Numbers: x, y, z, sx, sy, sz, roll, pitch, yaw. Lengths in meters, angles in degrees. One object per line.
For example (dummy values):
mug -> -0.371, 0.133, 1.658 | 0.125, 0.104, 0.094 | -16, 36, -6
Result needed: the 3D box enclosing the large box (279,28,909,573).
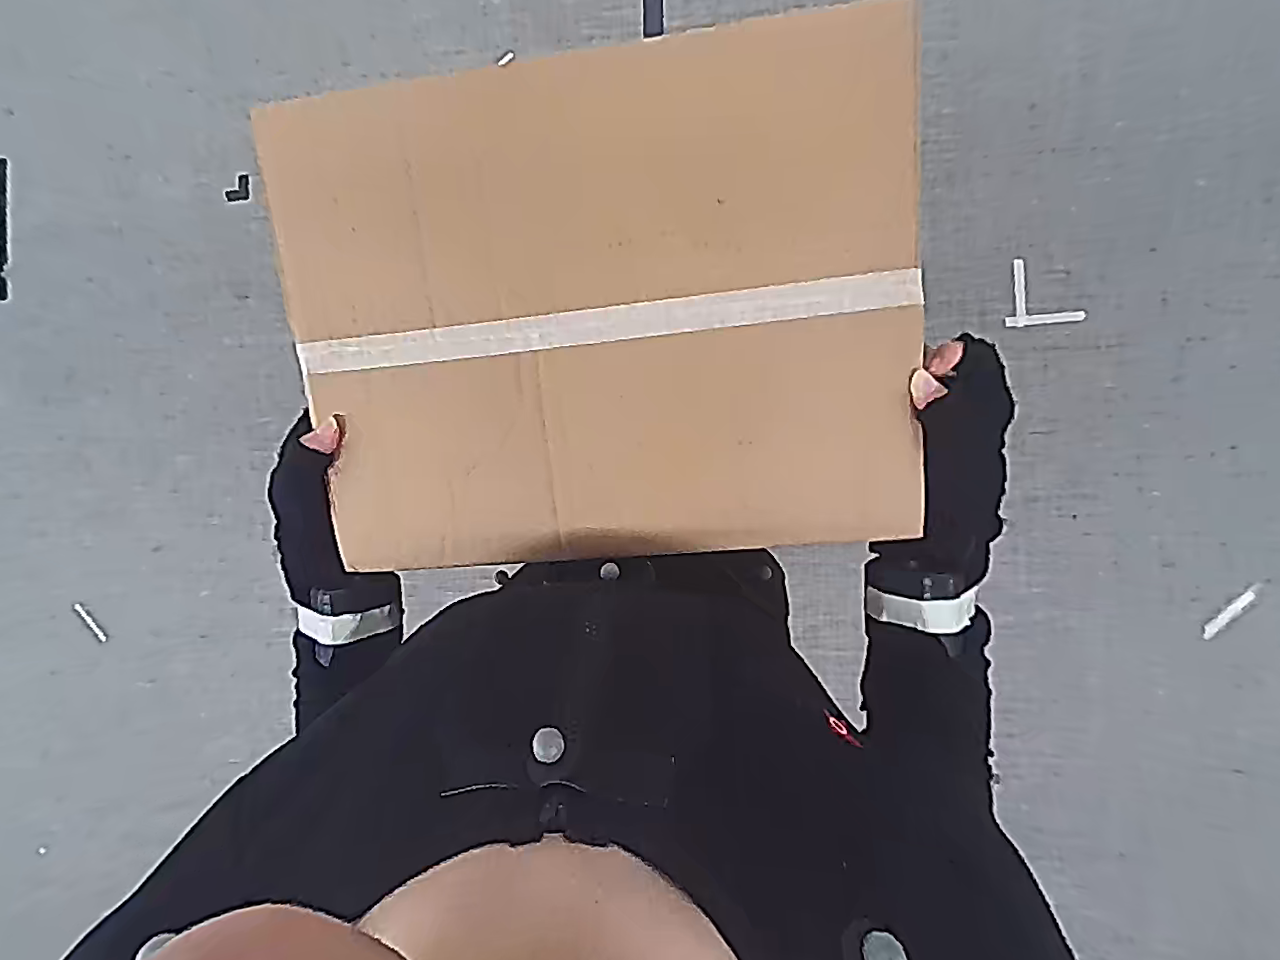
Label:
large box -> -0.013, -0.124, 0.506 | 0.408, 0.320, 0.320 | -4, 100, 7
